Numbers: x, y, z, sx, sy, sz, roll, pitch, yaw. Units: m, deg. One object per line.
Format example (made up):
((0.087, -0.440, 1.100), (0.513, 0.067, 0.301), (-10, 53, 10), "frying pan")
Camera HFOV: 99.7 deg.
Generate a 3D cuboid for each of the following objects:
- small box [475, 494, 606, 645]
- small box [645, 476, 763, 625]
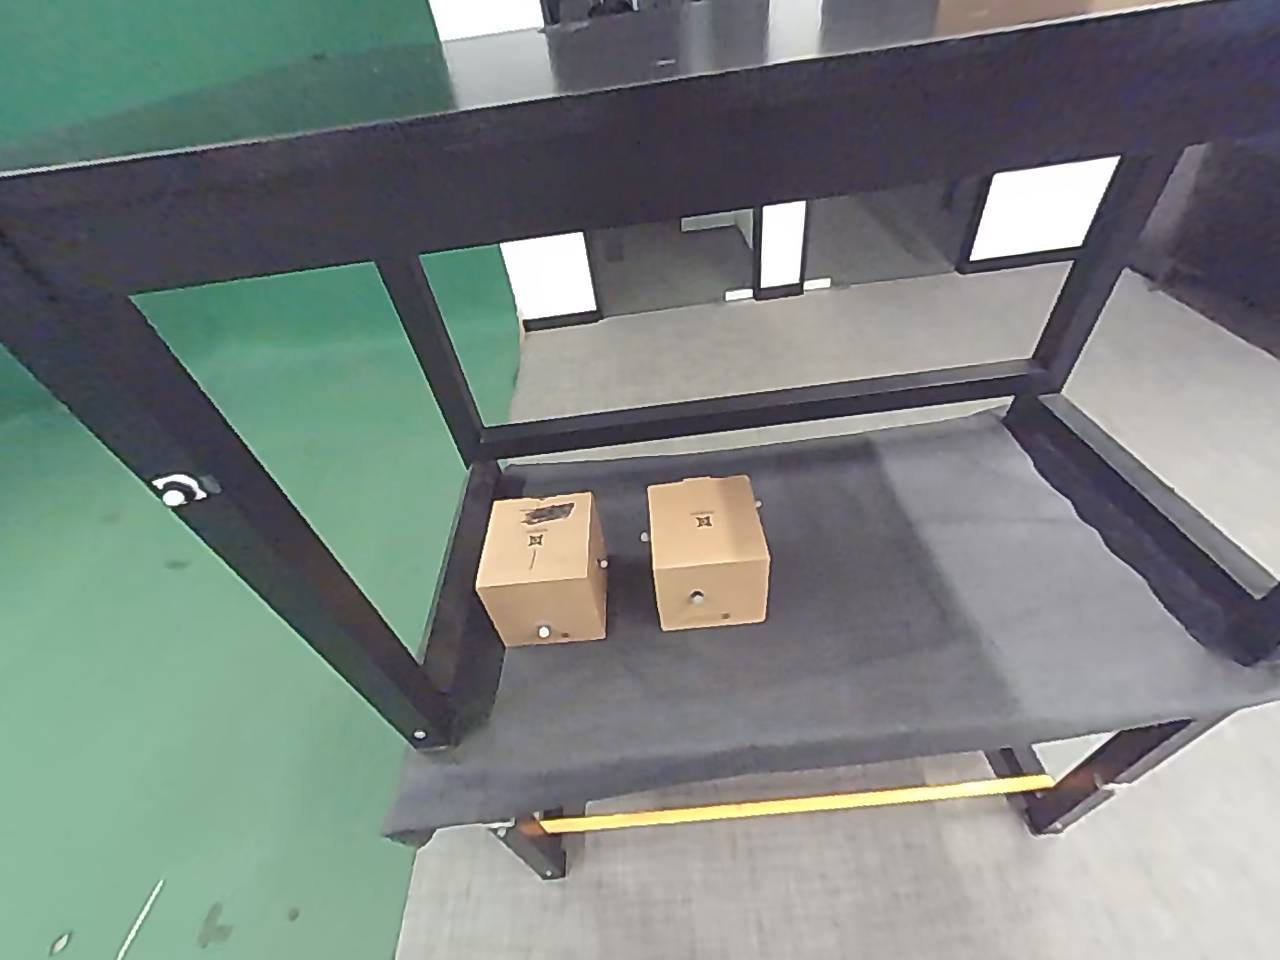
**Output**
((-0.150, 0.146, 0.883), (0.168, 0.176, 0.179), (-6, 43, 3), "small box")
((0.101, 0.120, 0.874), (0.168, 0.176, 0.179), (-6, 42, 3), "small box")
